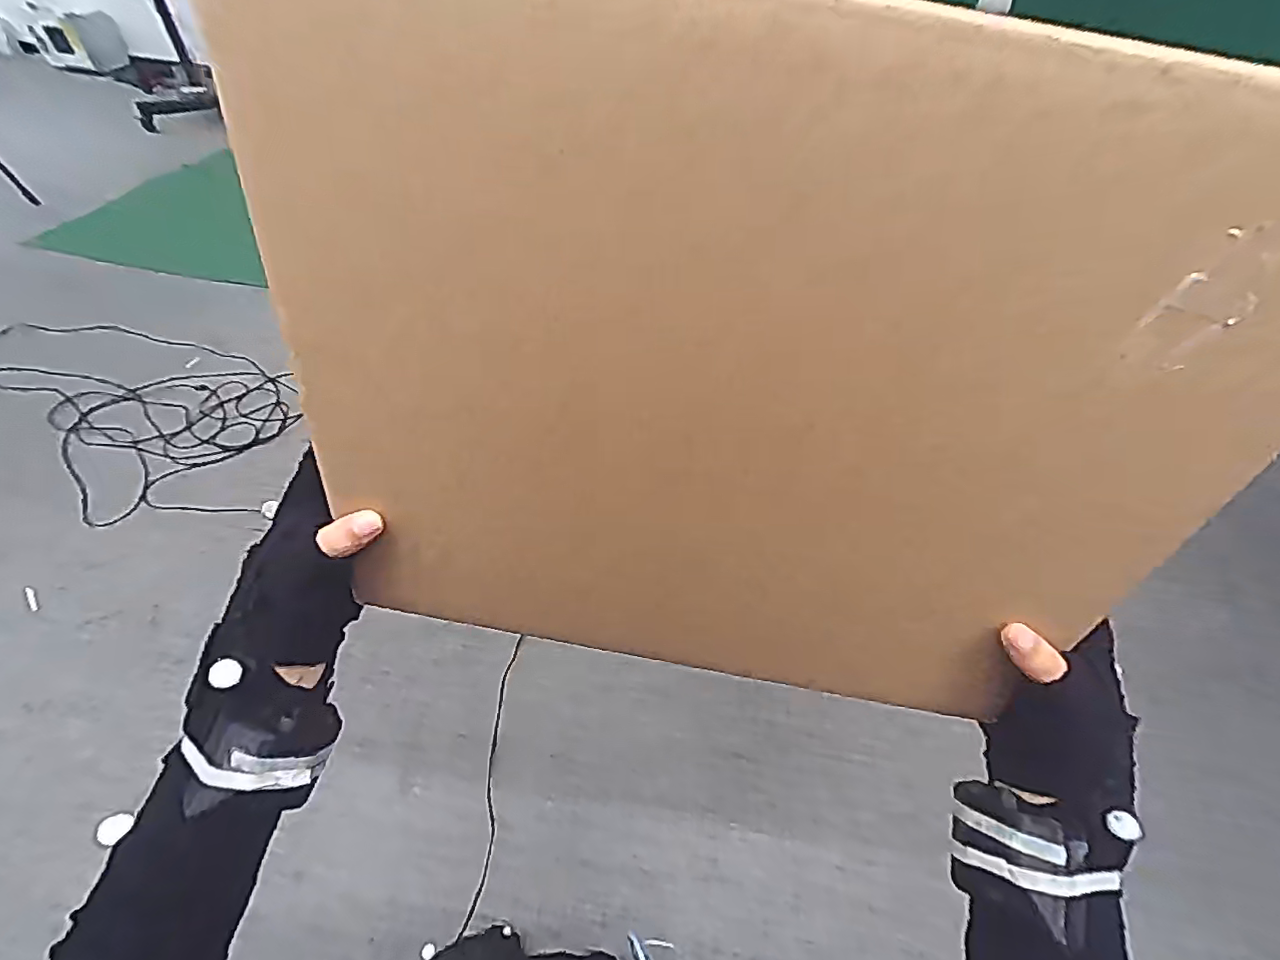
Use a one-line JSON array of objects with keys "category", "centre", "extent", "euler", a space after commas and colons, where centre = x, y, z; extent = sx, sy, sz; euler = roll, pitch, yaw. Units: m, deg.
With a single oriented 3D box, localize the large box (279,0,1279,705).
[{"category": "large box", "centre": [0.070, -0.095, 0.366], "extent": [0.408, 0.320, 0.320], "euler": [11, 38, -2]}]
